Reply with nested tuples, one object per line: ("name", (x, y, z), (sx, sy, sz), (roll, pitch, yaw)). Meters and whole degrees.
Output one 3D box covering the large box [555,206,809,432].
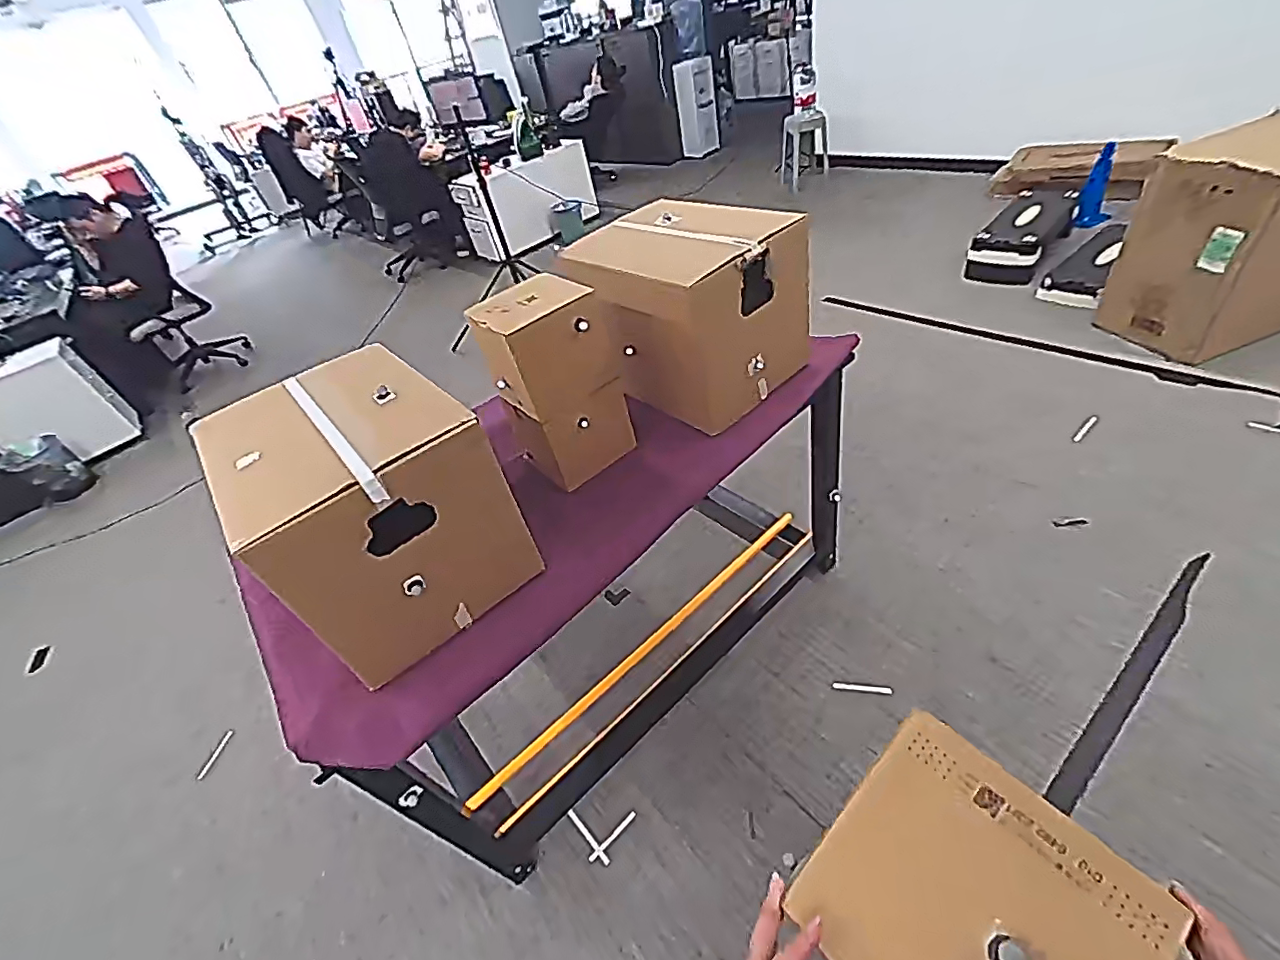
("large box", (0.096, -0.353, 1.139), (0.320, 0.320, 0.408), (-37, 44, -23))
